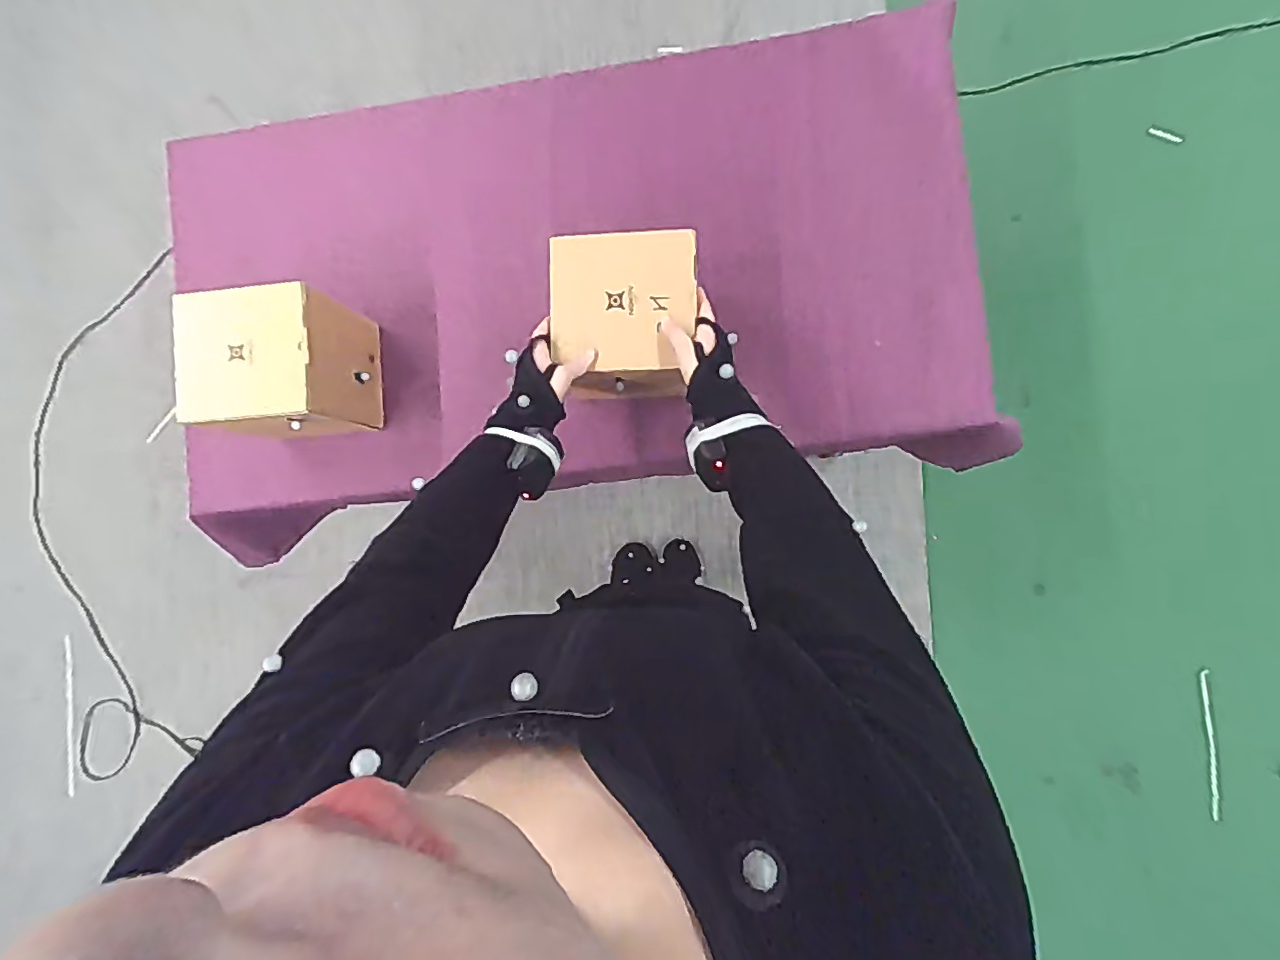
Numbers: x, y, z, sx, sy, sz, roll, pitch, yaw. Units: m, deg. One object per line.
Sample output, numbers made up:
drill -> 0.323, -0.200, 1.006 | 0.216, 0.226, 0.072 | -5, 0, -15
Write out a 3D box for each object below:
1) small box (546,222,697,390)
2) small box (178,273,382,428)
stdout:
small box -> -0.015, -0.214, 0.709 | 0.179, 0.176, 0.168 | 0, 89, 6
small box -> -0.490, -0.168, 0.754 | 0.179, 0.176, 0.168 | -4, 88, 4
